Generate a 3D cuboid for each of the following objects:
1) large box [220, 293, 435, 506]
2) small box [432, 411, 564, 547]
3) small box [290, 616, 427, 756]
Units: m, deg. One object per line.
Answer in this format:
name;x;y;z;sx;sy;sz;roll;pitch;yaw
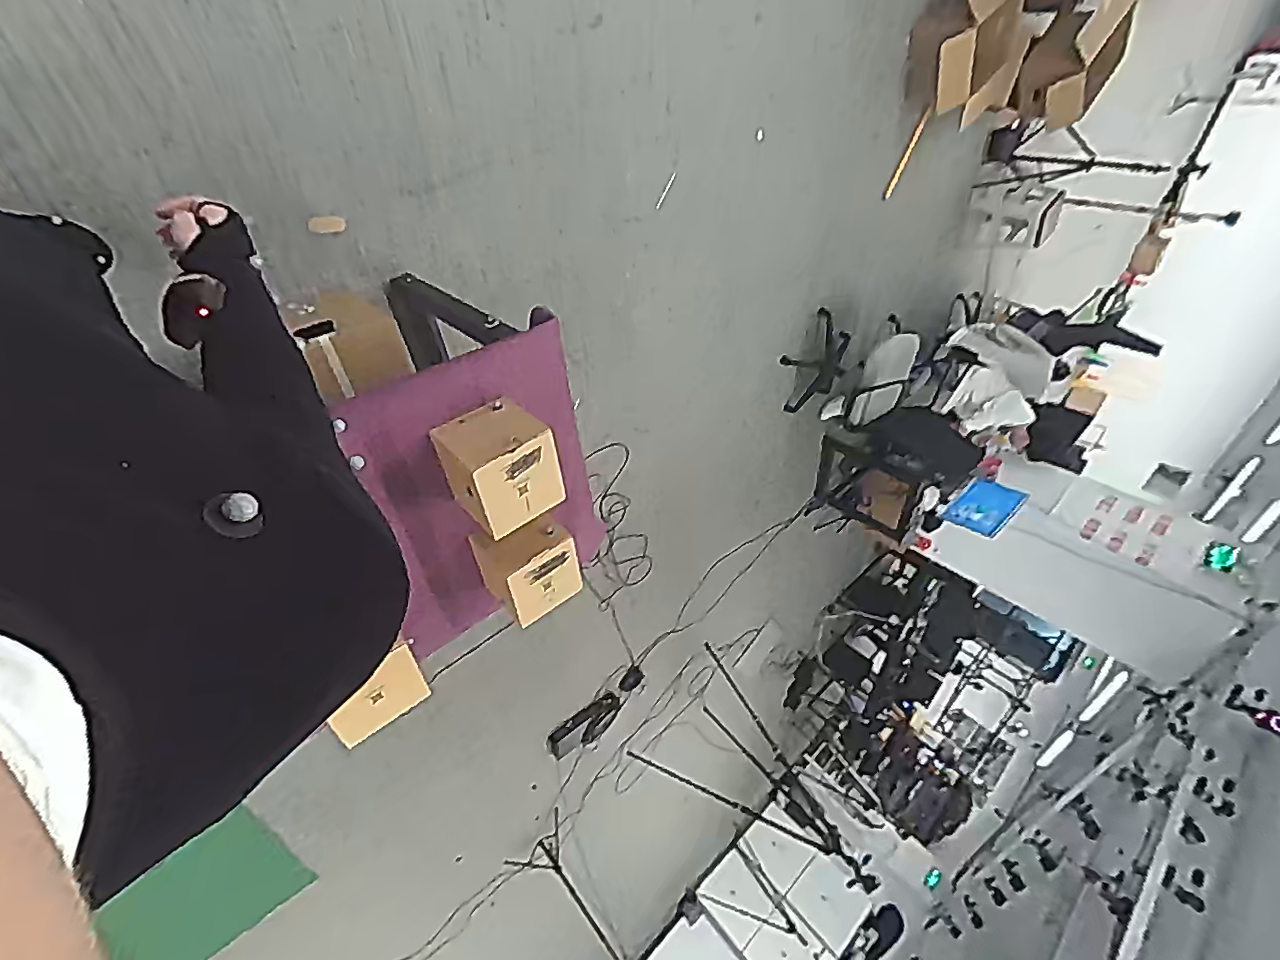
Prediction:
large box;-0.792;-0.217;1.412;0.320;0.320;0.408;-31;137;-28
small box;-0.271;-0.013;1.034;0.168;0.176;0.179;-32;139;-28
small box;-0.538;0.371;1.028;0.168;0.176;0.179;-30;135;-30
